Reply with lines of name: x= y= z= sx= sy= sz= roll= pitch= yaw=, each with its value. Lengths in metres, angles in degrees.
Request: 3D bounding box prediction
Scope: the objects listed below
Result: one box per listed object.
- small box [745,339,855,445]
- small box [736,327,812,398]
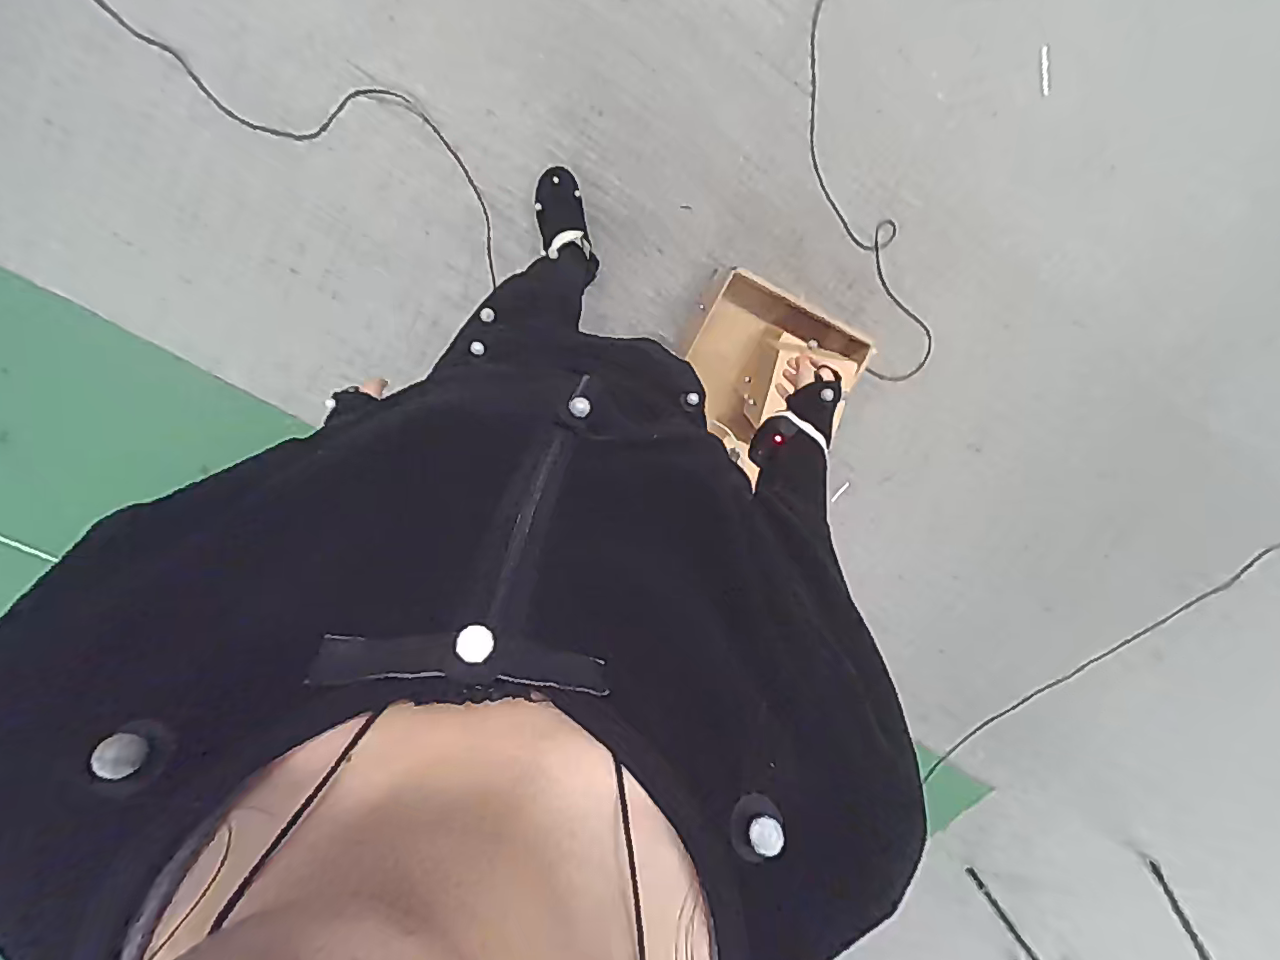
small box: x=0.338 y=-0.198 z=1.187 sx=0.168 sy=0.176 sz=0.179 roll=10 pitch=112 yaw=-5
small box: x=0.354 y=-0.261 z=1.337 sx=0.168 sy=0.176 sz=0.179 roll=25 pitch=111 yaw=-11
